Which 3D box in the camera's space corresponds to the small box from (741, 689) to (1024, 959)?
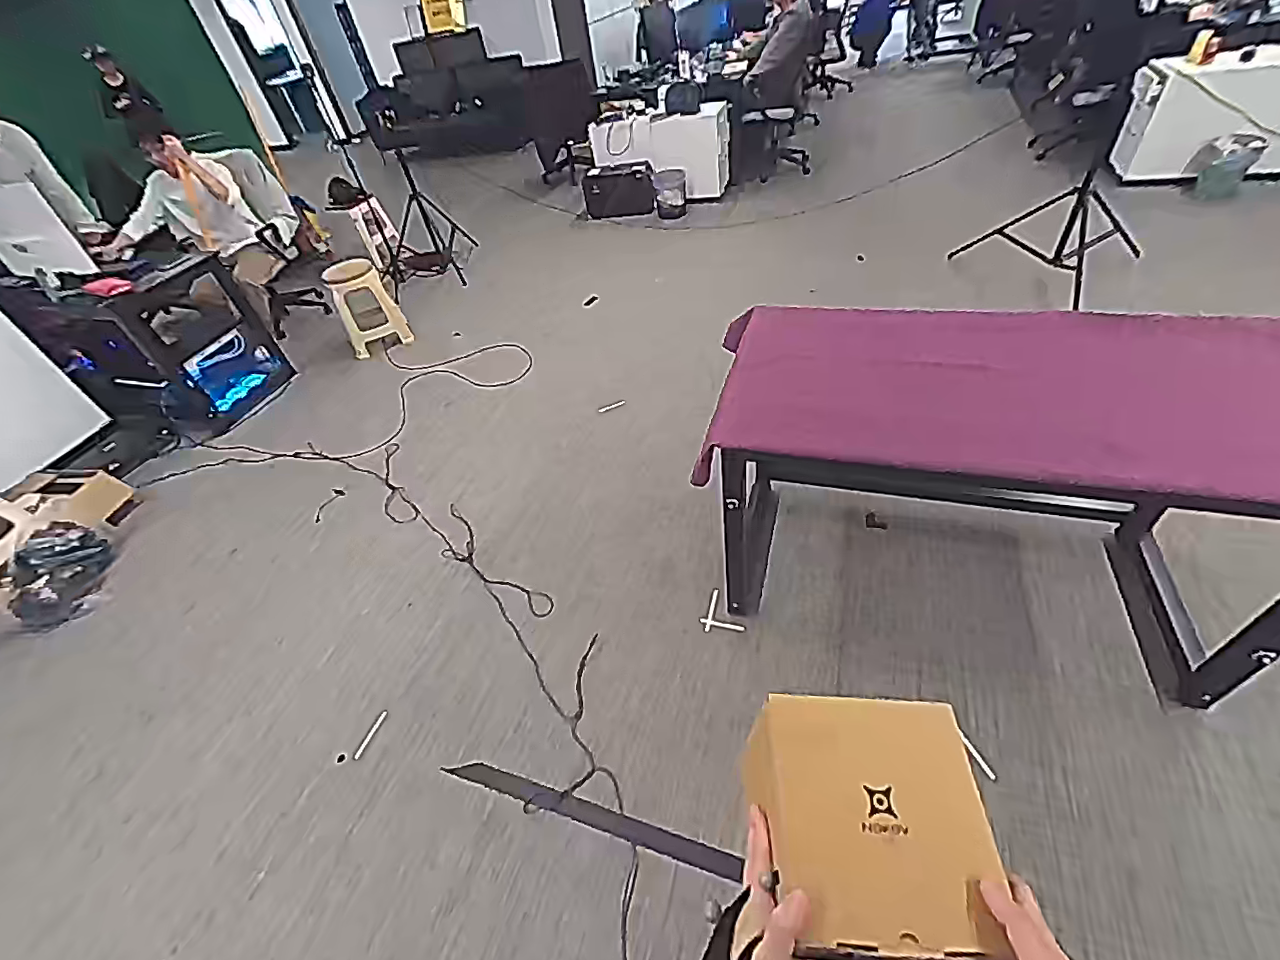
[{"bbox_3d":[0.188,0.313,0.491,0.168,0.176,0.179,3,48,2],"label":"small box"}]
